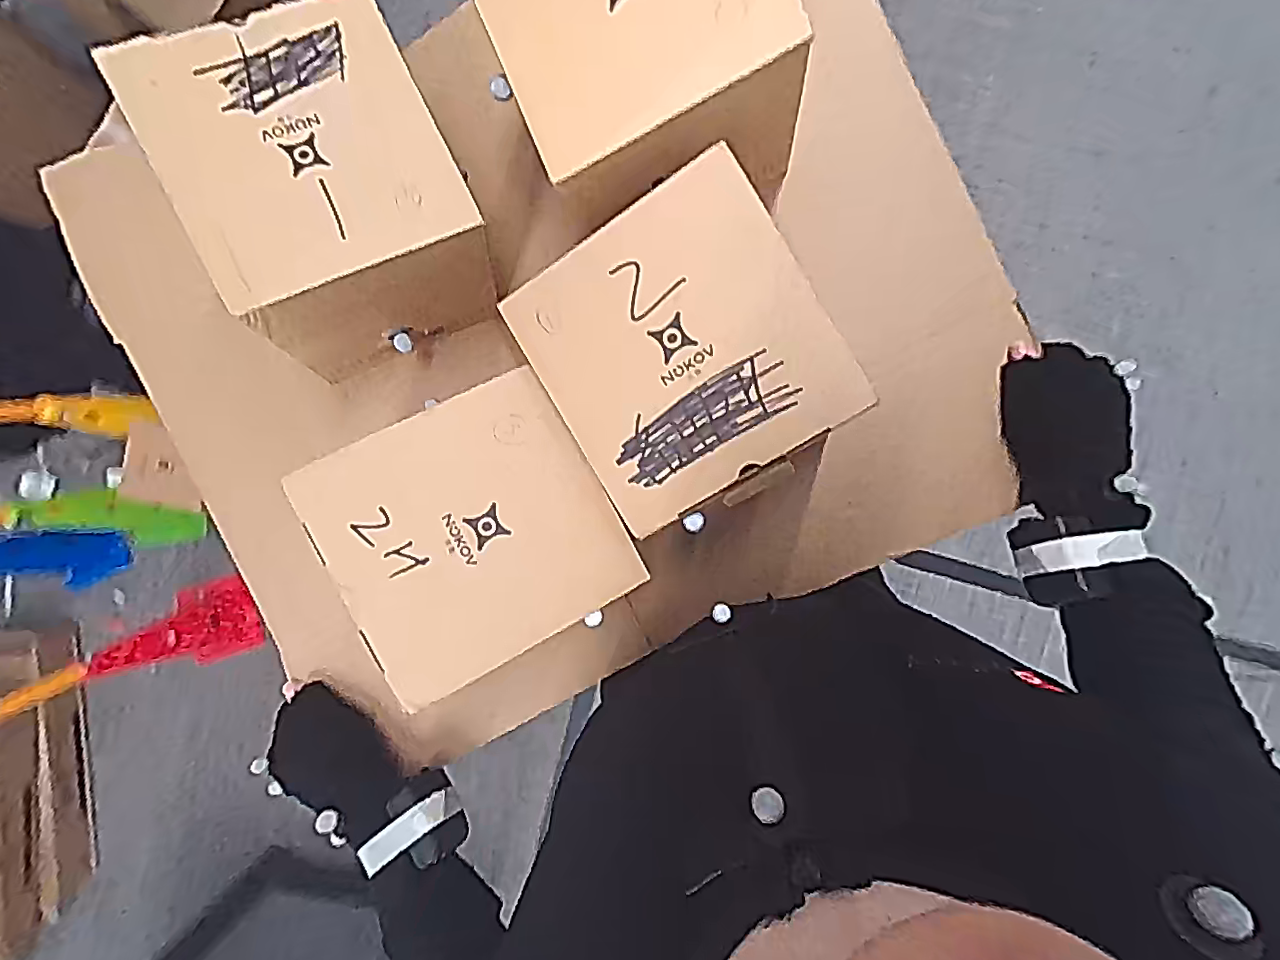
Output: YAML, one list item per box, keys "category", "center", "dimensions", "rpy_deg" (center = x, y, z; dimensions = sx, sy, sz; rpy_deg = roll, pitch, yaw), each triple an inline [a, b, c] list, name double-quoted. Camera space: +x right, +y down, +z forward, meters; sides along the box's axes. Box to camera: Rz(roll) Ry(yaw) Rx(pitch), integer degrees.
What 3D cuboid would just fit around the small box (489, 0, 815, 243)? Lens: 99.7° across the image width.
- category: "small box"
  center: [0.009, -0.298, 0.389]
  dimensions: [0.168, 0.176, 0.179]
  rpy_deg: [-22, 90, 12]
